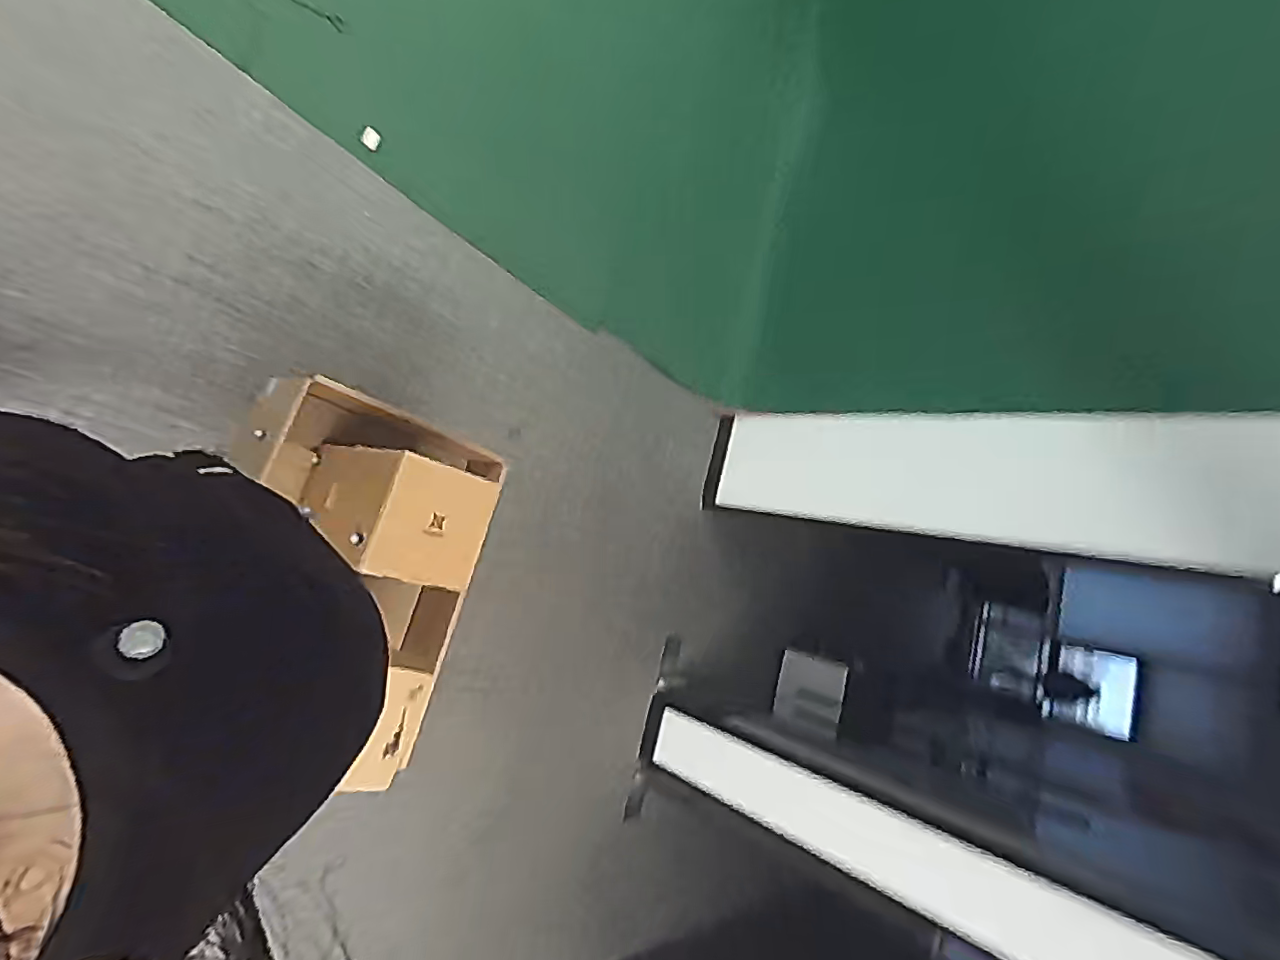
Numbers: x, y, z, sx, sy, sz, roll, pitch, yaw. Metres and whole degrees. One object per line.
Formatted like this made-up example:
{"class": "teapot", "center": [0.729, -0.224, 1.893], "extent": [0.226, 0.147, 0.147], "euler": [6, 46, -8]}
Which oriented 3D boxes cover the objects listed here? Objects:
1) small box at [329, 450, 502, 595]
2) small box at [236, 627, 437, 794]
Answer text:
{"class": "small box", "center": [-0.350, 0.062, 0.839], "extent": [0.168, 0.176, 0.179], "euler": [27, 76, -46]}
{"class": "small box", "center": [-0.437, 0.324, 0.777], "extent": [0.179, 0.176, 0.168], "euler": [36, 69, -43]}
